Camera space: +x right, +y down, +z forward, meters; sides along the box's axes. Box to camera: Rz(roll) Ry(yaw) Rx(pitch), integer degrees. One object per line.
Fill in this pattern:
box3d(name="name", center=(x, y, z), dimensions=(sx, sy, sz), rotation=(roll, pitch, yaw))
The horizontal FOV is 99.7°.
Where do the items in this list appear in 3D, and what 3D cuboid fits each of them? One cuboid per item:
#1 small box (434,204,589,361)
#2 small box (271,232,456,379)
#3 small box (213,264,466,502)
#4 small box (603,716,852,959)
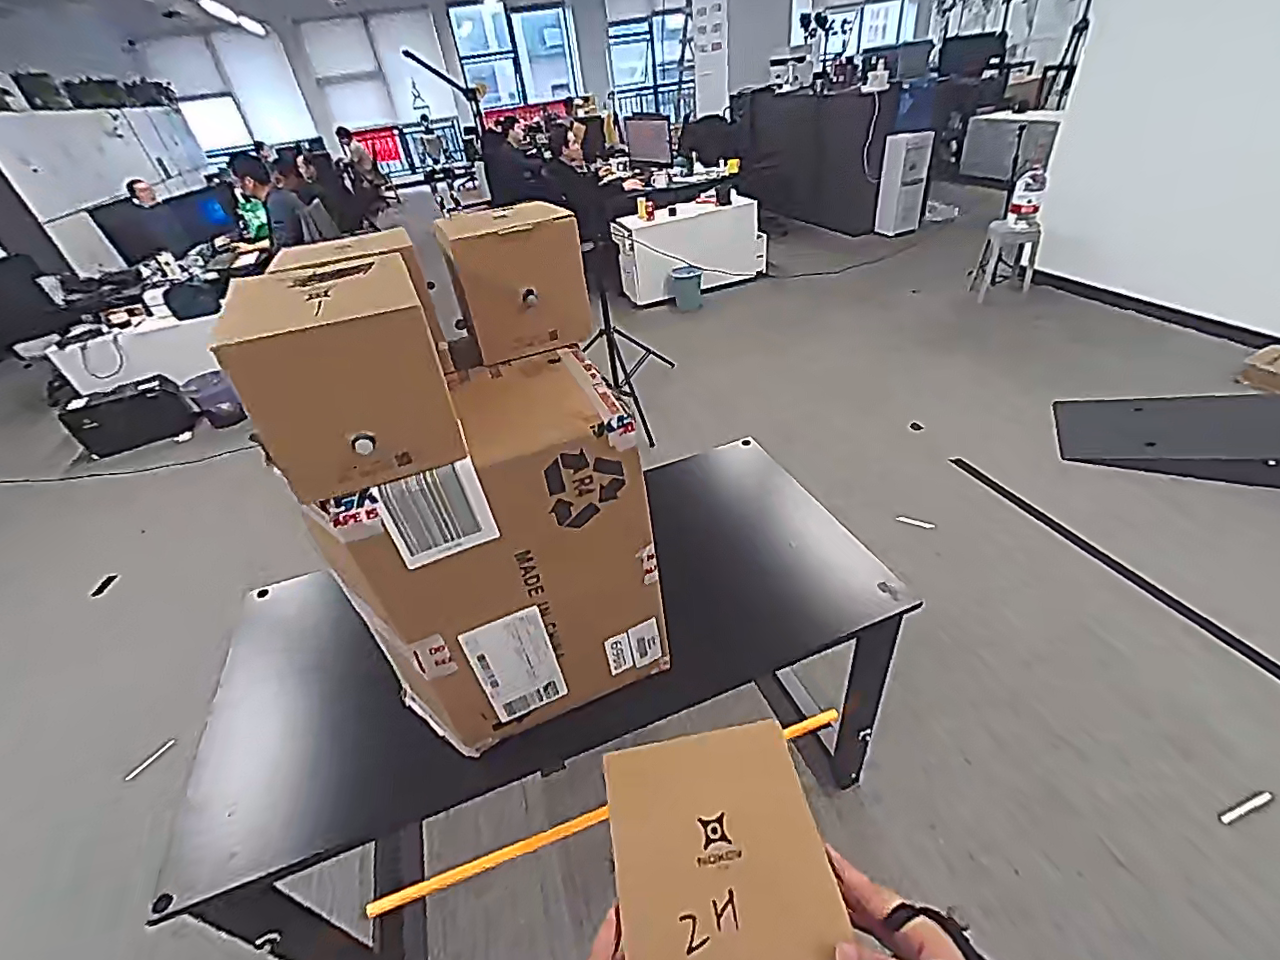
box3d(name="small box", center=(-0.184, -0.286, 0.788), dimensions=(0.168, 0.176, 0.179), rotation=(-18, 38, -17))
box3d(name="small box", center=(-0.368, -0.227, 0.742), dimensions=(0.168, 0.176, 0.179), rotation=(-21, 37, -16))
box3d(name="small box", center=(-0.295, -0.106, 0.562), dimensions=(0.168, 0.176, 0.179), rotation=(-19, 40, -17))
box3d(name="small box", center=(0.063, 0.348, 0.487), dimensions=(0.168, 0.176, 0.179), rotation=(-10, 40, -3))
